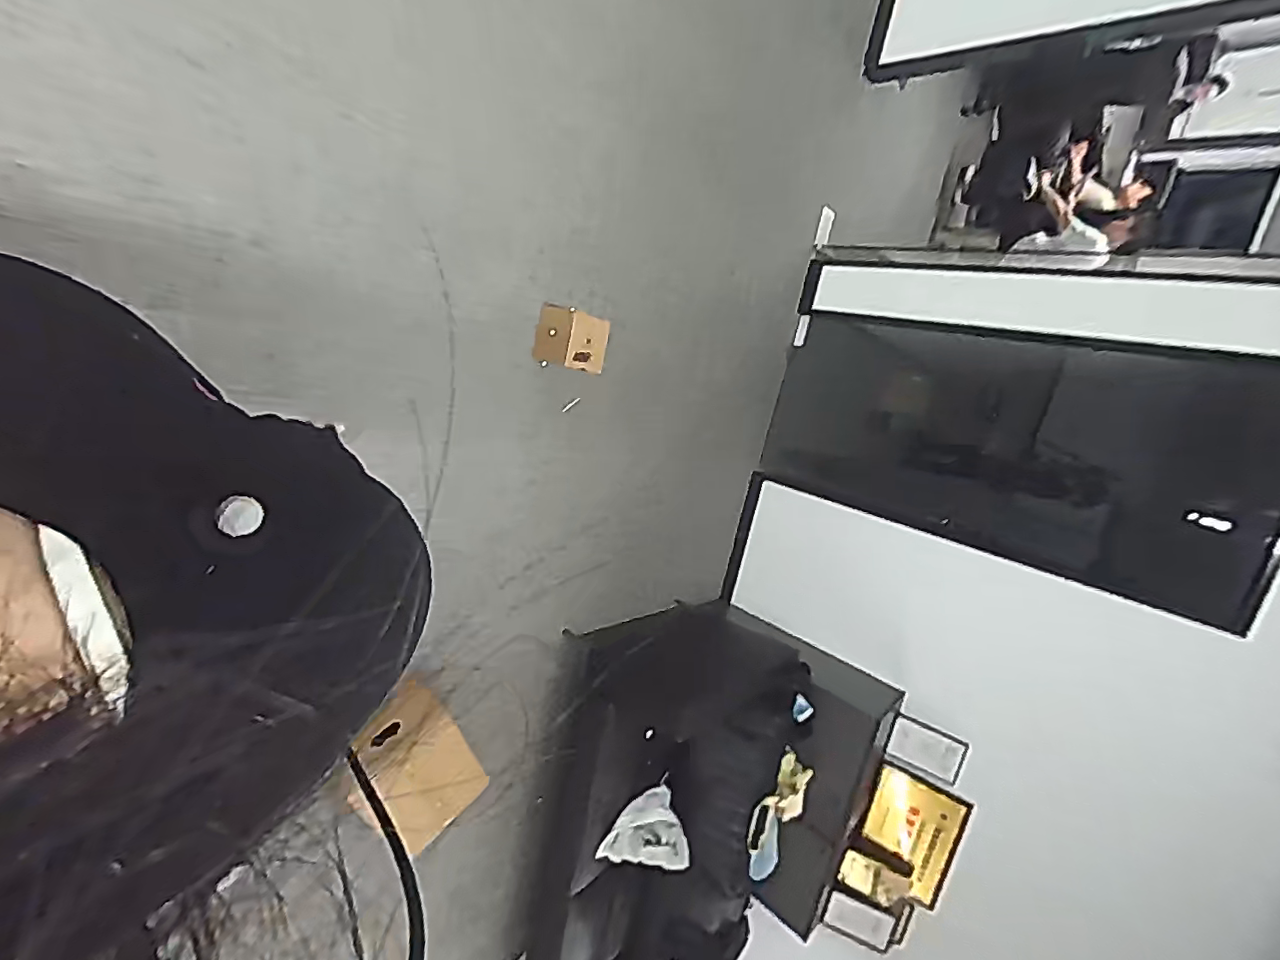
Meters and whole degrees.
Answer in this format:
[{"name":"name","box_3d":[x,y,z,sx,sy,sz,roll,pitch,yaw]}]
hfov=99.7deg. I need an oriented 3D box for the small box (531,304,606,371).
[{"name":"small box","box_3d":[-0.244,-0.476,1.803,0.168,0.176,0.179,1,106,-50]}]
